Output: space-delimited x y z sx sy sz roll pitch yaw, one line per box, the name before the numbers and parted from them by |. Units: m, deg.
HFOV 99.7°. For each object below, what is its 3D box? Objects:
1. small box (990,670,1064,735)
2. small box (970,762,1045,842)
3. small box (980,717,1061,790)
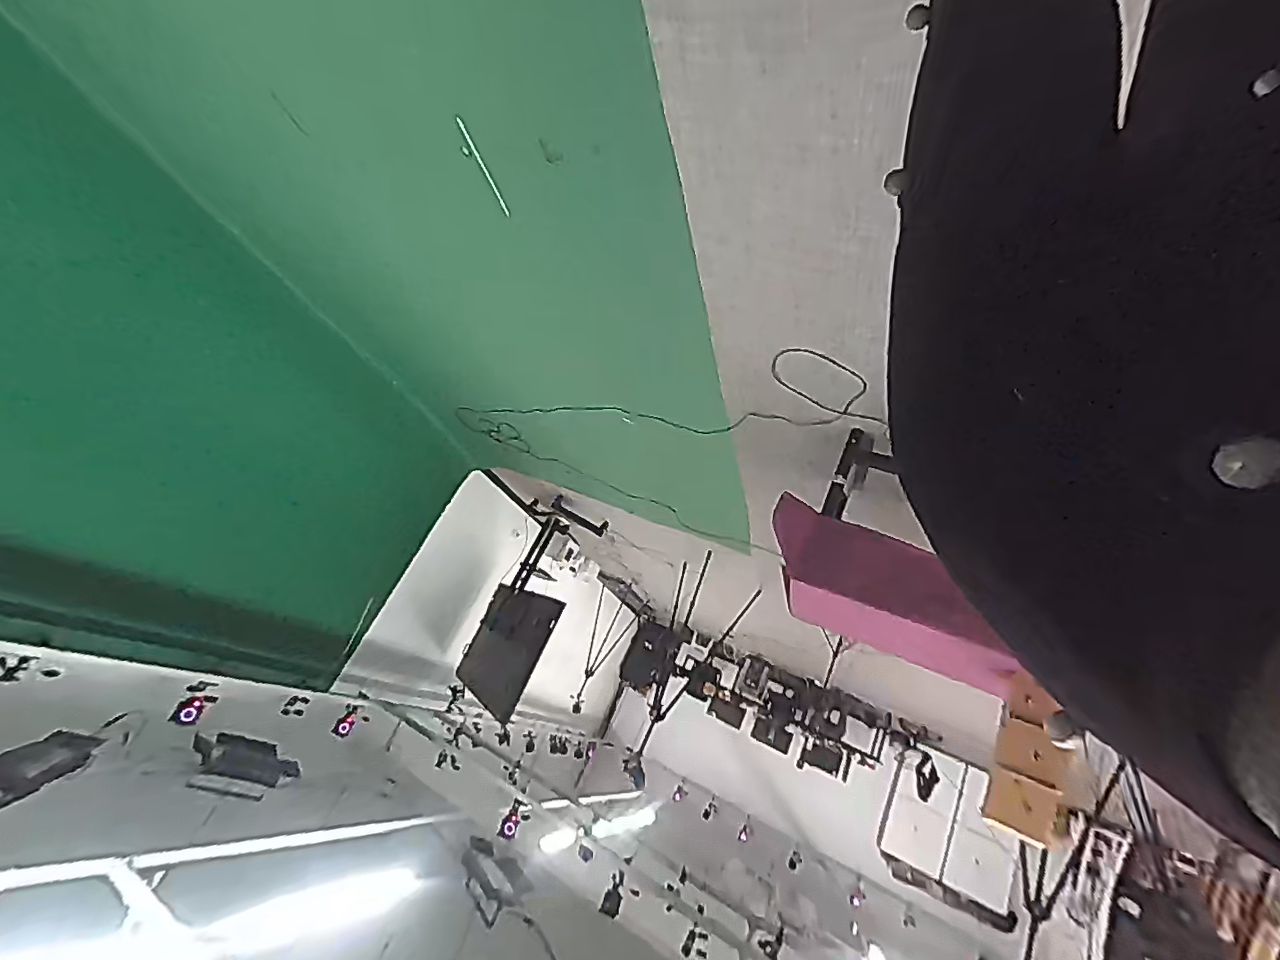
small box | 1.344 0.779 1.878 0.168 0.176 0.179 17 159 30
small box | 1.185 1.034 1.746 0.168 0.176 0.179 15 158 34
small box | 1.267 0.905 1.803 0.179 0.176 0.168 16 158 30
